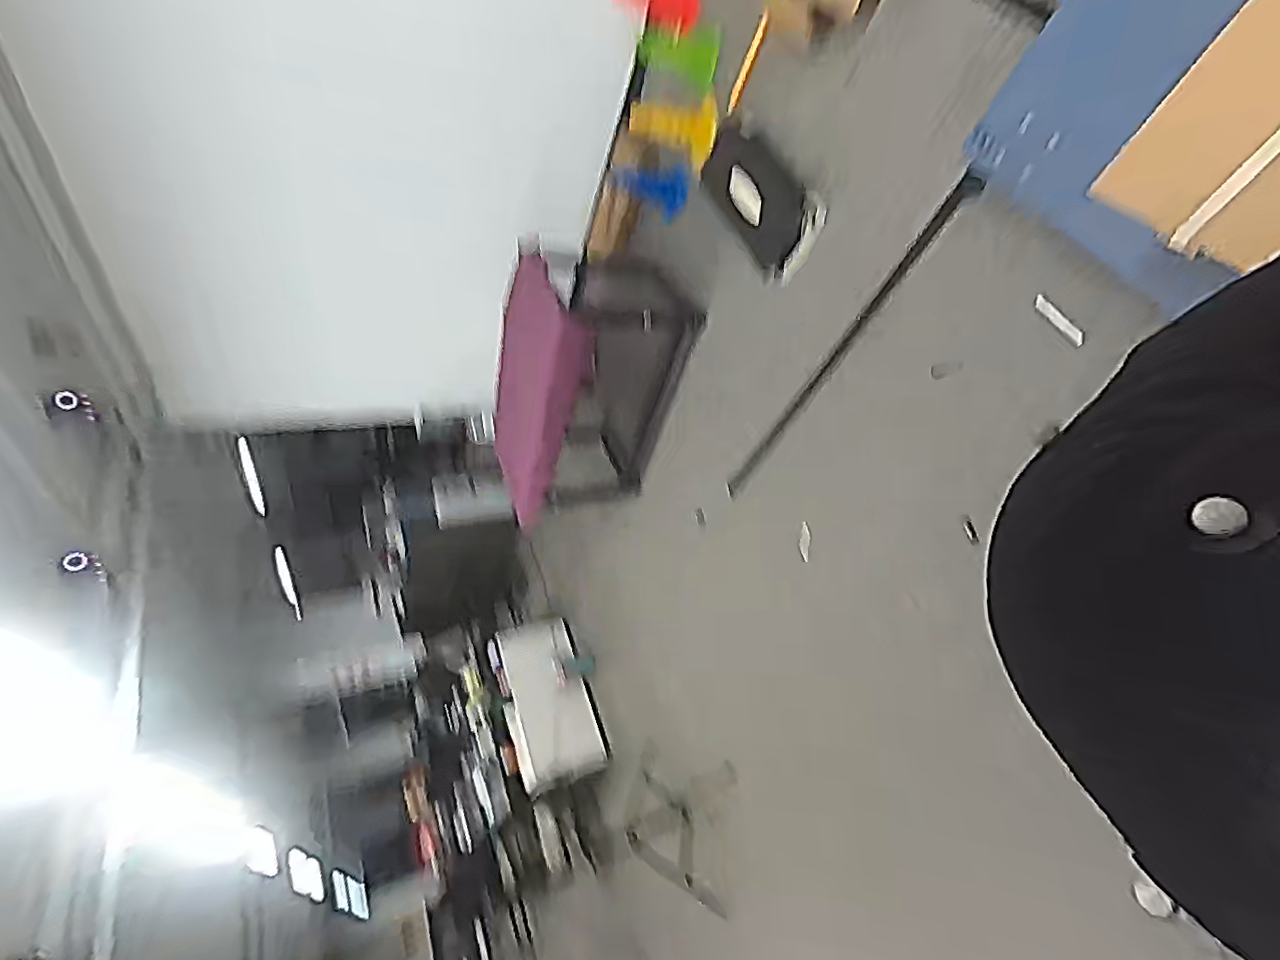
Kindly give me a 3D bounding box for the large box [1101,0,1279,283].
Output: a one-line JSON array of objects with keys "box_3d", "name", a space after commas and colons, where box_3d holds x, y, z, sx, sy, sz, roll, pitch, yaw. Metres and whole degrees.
[{"box_3d": [0.960, -0.482, 0.699, 0.320, 0.320, 0.408, 61, 143, 34], "name": "large box"}]
